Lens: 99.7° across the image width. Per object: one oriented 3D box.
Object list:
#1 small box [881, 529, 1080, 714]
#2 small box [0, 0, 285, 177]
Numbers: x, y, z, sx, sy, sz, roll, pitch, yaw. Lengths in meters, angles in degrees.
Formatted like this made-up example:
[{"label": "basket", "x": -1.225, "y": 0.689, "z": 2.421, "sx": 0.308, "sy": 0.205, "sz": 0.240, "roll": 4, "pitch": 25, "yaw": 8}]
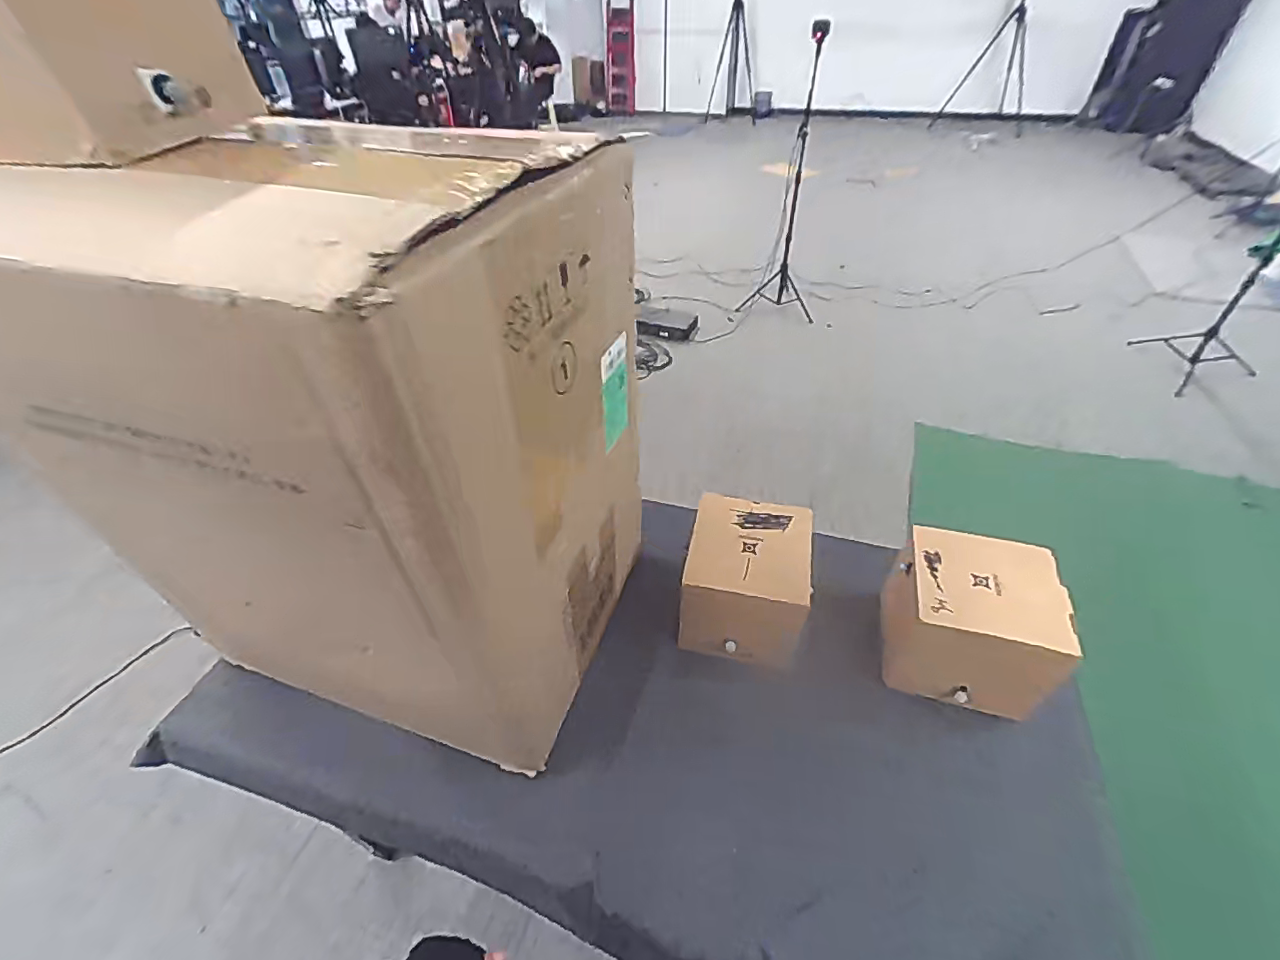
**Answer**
[{"label": "small box", "x": 0.452, "y": 0.198, "z": 0.751, "sx": 0.179, "sy": 0.176, "sz": 0.168, "roll": 11, "pitch": 44, "yaw": 14}, {"label": "small box", "x": -0.447, "y": -0.361, "z": 0.435, "sx": 0.179, "sy": 0.176, "sz": 0.168, "roll": 9, "pitch": 48, "yaw": 11}]
